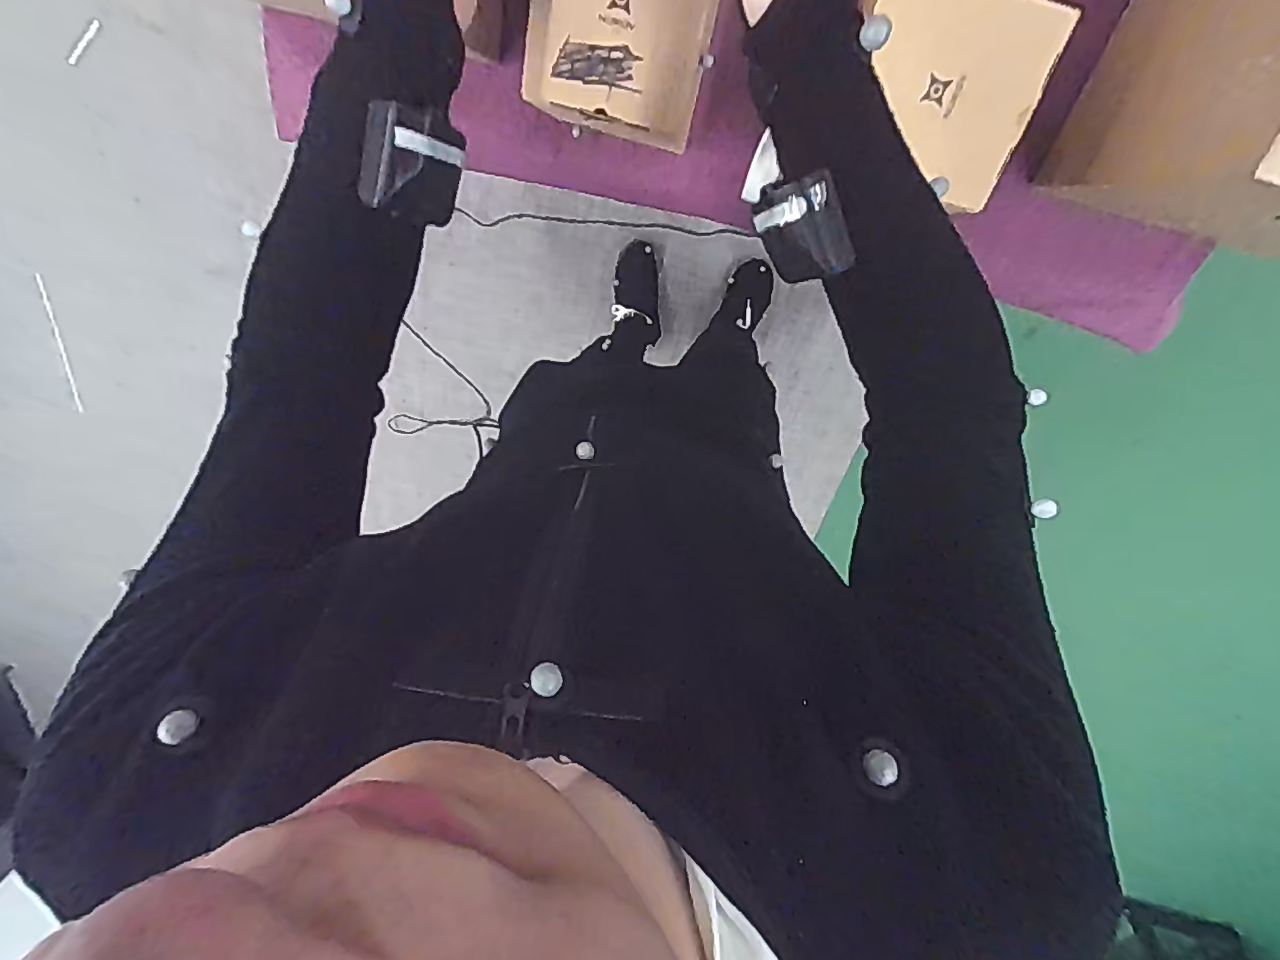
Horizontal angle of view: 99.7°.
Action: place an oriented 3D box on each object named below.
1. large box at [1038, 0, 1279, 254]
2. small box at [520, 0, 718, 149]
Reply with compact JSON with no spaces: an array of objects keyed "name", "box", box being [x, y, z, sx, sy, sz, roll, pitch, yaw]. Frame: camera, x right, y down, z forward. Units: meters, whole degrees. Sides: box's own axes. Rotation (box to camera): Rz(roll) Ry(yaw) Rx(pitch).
[{"name":"large box","box":[0.657,-0.420,0.444,0.320,0.320,0.408,16,119,0]},{"name":"small box","box":[-0.013,-0.469,0.569,0.168,0.176,0.179,14,117,-1]}]
